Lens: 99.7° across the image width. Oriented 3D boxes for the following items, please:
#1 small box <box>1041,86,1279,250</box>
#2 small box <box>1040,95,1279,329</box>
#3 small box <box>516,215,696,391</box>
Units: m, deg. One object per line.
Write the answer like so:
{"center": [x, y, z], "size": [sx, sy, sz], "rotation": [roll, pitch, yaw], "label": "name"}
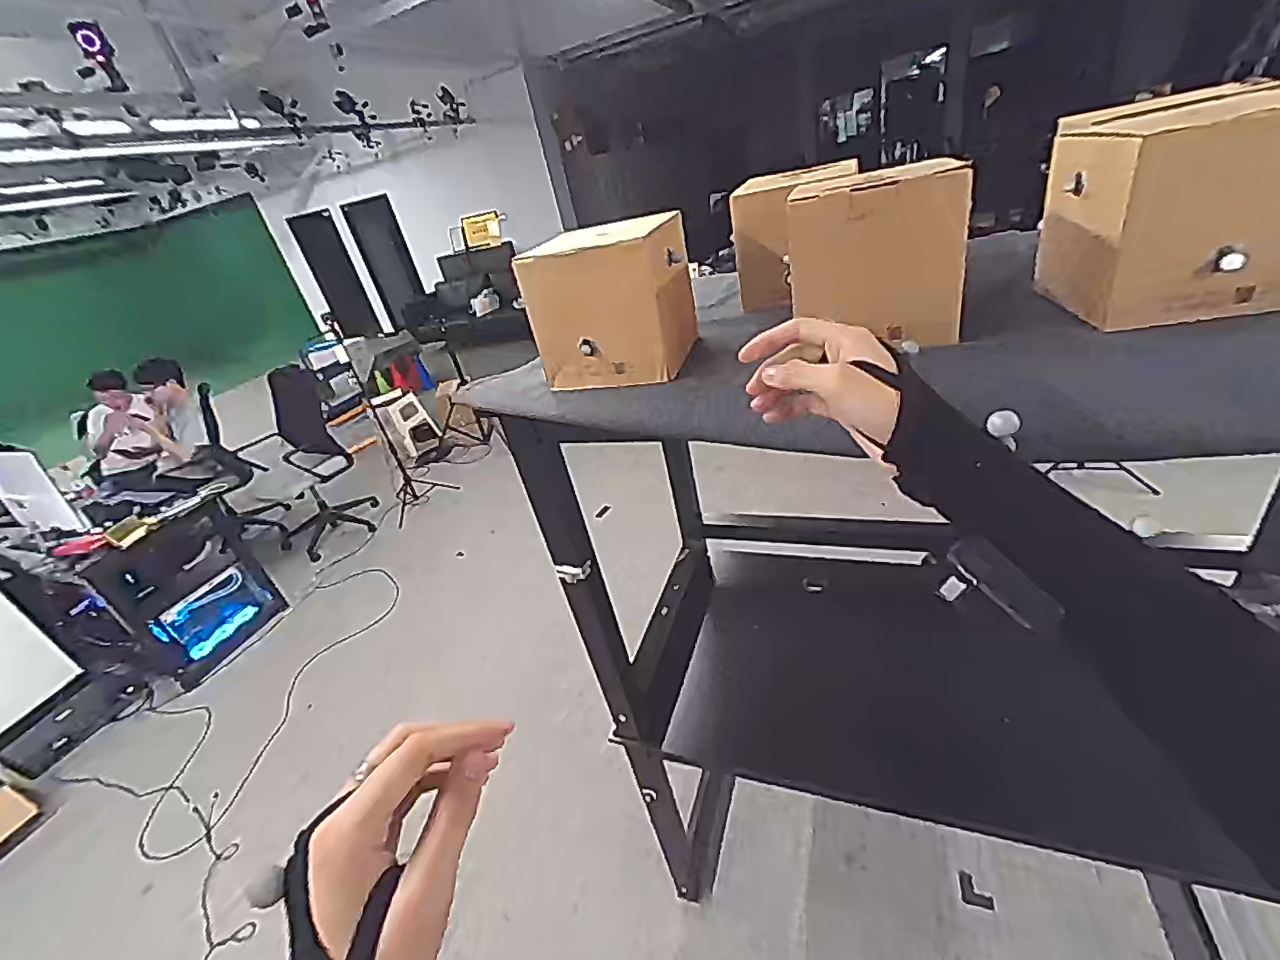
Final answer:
{"center": [0.639, -0.374, 0.680], "size": [0.179, 0.176, 0.168], "rotation": [2, 33, 24], "label": "small box"}
{"center": [0.526, -0.259, 0.529], "size": [0.168, 0.176, 0.179], "rotation": [-4, 31, 16], "label": "small box"}
{"center": [-0.029, -0.227, 0.698], "size": [0.168, 0.176, 0.179], "rotation": [-1, 33, 20], "label": "small box"}
